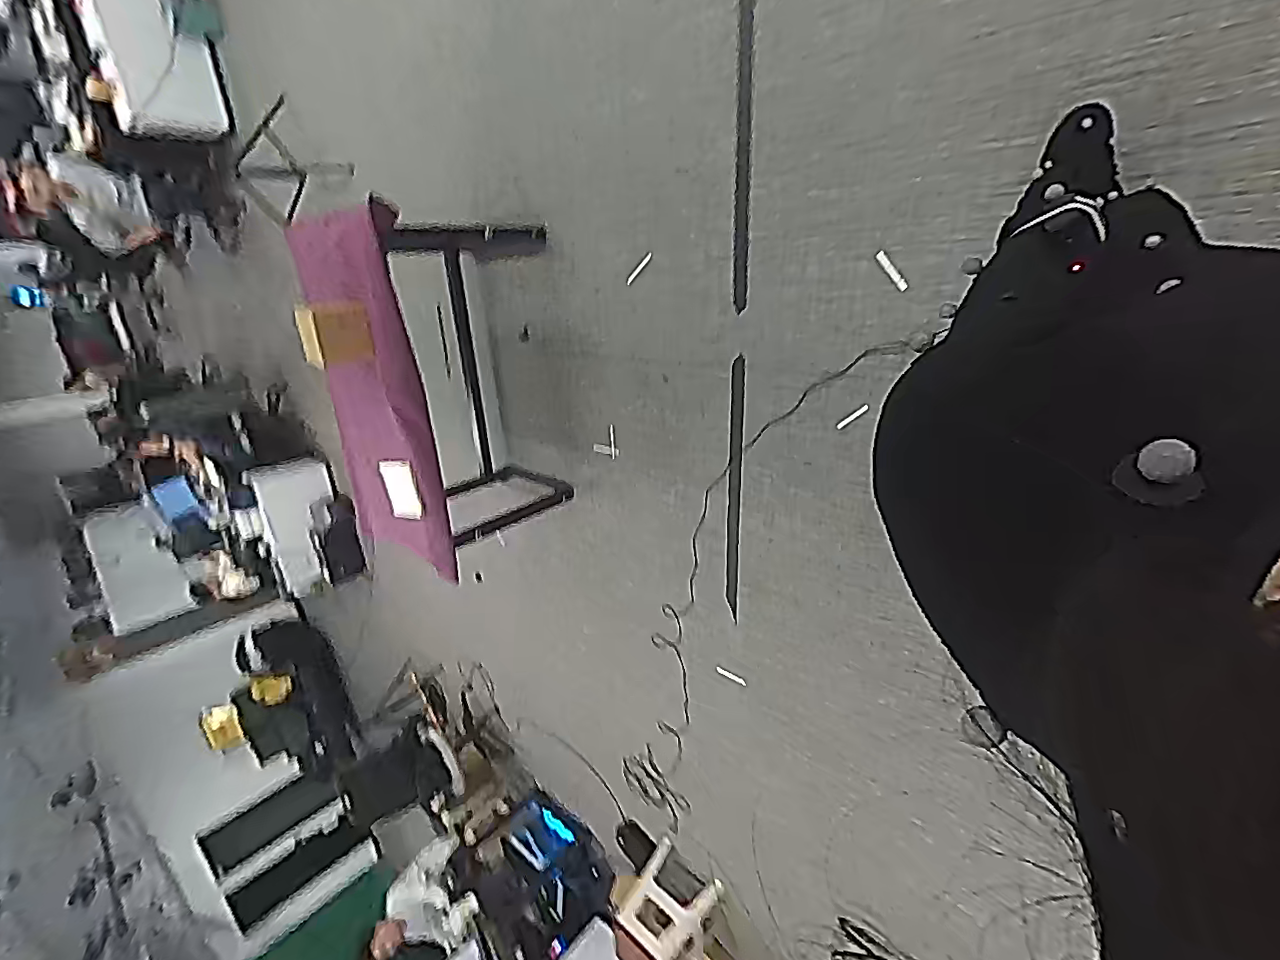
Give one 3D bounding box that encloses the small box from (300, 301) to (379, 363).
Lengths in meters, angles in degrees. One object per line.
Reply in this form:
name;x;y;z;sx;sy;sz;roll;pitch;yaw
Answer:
small box;-1.010;-0.506;1.824;0.168;0.176;0.179;20;123;40
